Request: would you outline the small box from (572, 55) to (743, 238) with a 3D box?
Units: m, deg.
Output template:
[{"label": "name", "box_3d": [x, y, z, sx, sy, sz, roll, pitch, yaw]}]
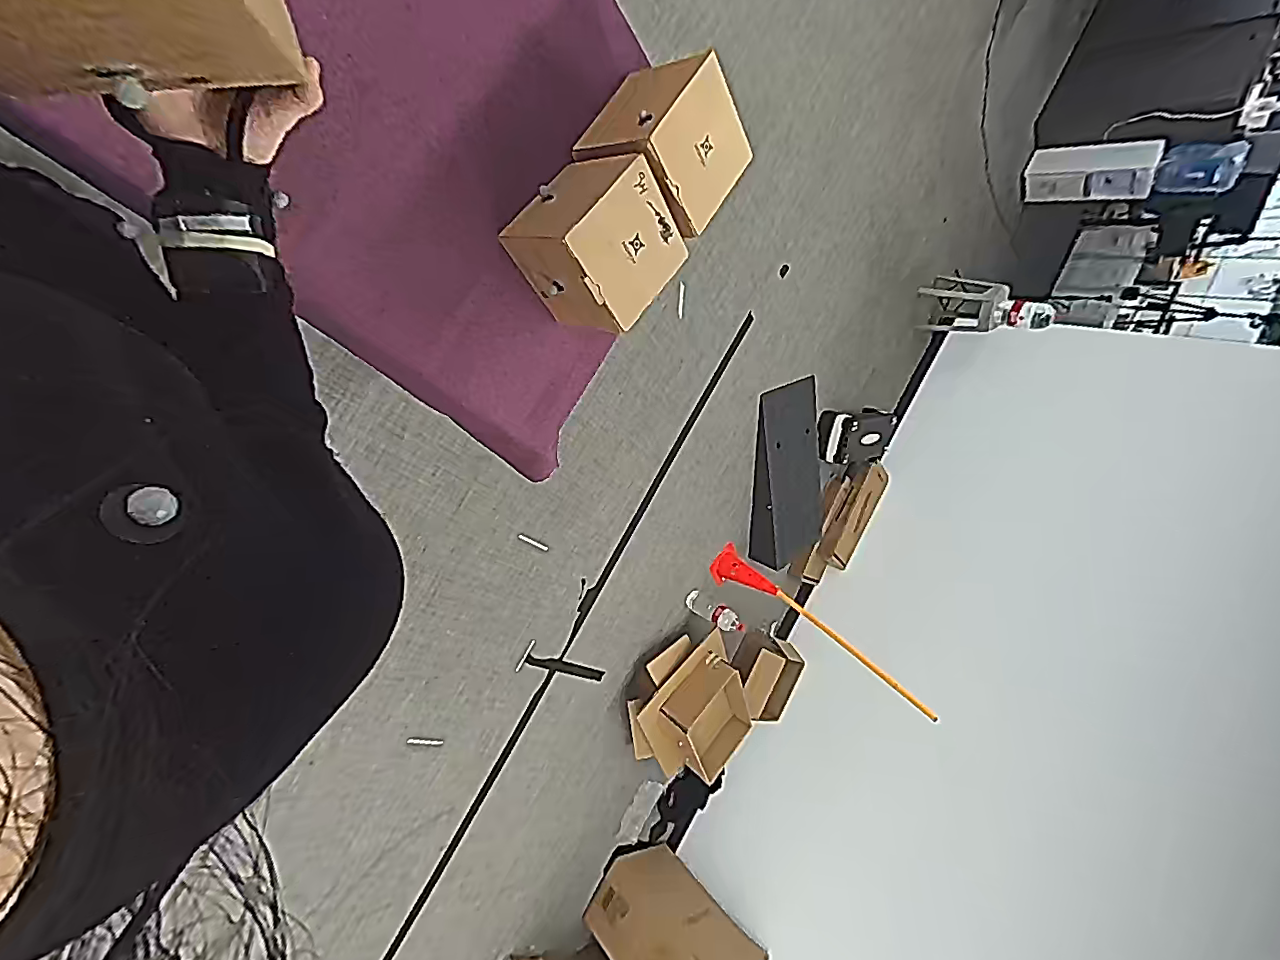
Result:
[{"label": "small box", "box_3d": [0.027, -0.508, 0.843, 0.179, 0.176, 0.168, -58, 139, -10]}]

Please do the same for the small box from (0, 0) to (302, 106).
[{"label": "small box", "box_3d": [-0.281, -0.290, 0.240, 0.168, 0.176, 0.179, -14, 118, -15]}]
